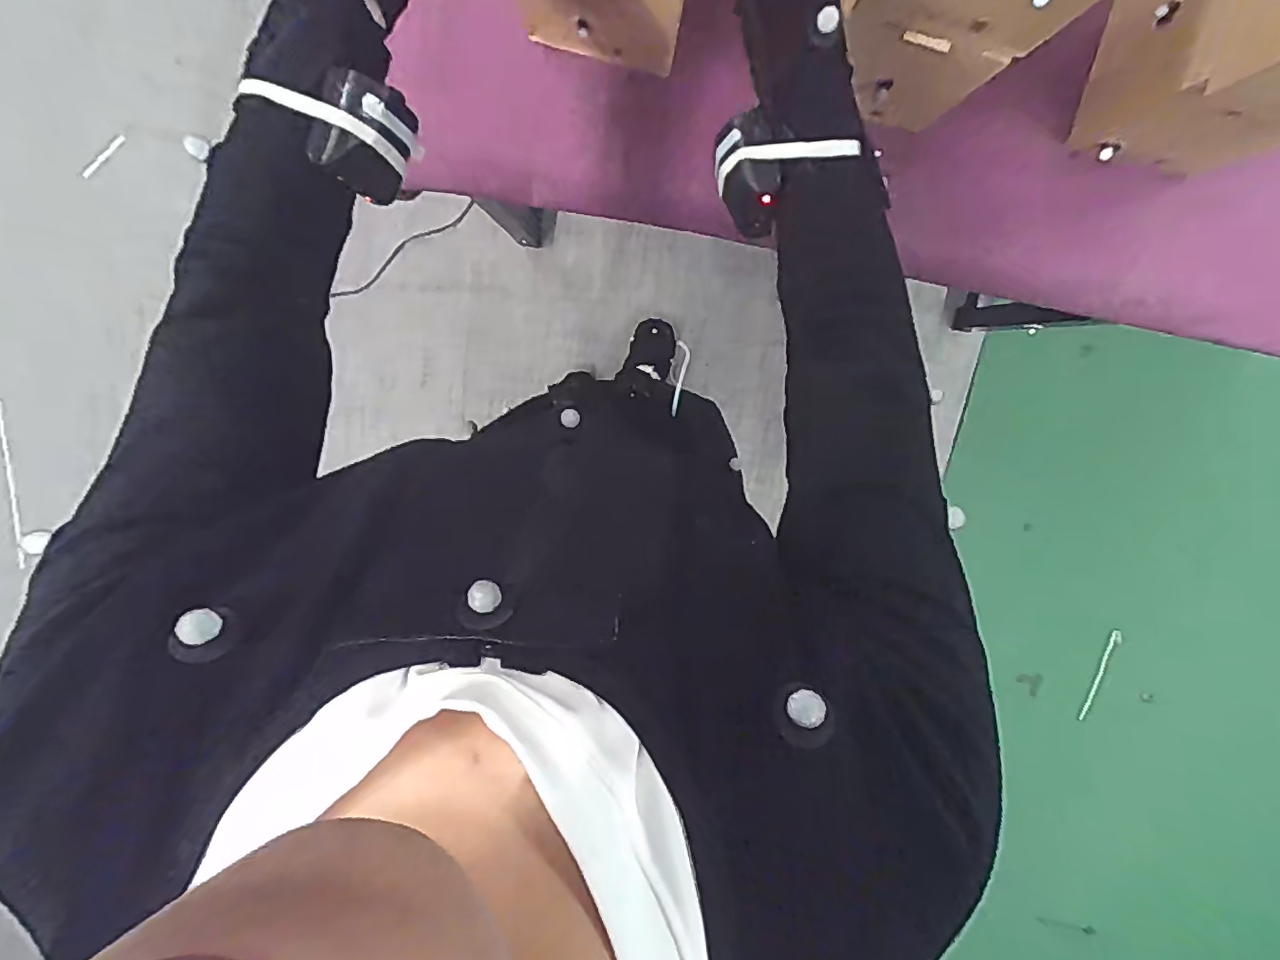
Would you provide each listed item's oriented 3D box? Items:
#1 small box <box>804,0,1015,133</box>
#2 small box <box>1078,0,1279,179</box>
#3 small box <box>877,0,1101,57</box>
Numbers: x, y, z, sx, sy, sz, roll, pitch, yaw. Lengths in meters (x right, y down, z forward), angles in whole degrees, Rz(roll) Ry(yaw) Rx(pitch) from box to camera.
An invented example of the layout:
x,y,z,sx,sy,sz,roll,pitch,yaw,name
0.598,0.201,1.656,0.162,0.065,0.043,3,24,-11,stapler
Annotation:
x,y,z,sx,sy,sz,roll,pitch,yaw,name
0.279,-0.486,0.544,0.168,0.176,0.179,13,102,0,small box
0.613,-0.440,0.558,0.168,0.176,0.179,13,104,-6,small box
0.287,-0.449,0.382,0.168,0.176,0.179,12,103,-5,small box
